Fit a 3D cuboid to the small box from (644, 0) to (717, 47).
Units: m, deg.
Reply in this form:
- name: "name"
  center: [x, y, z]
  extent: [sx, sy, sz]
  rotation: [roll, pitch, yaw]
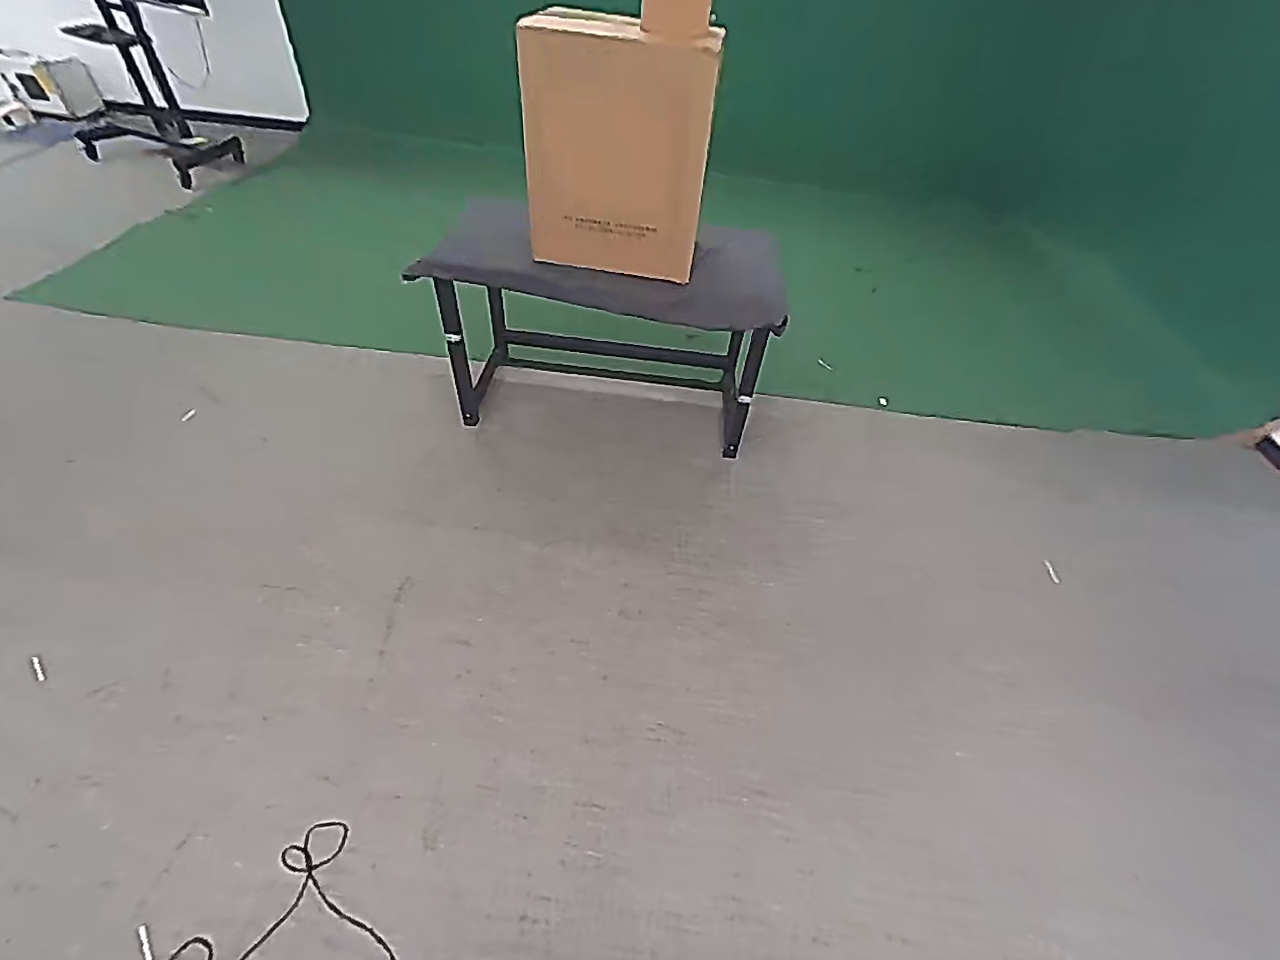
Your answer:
- name: "small box"
  center: [0.112, -1.278, 1.435]
  extent: [0.179, 0.176, 0.168]
  rotation: [11, 49, 1]
